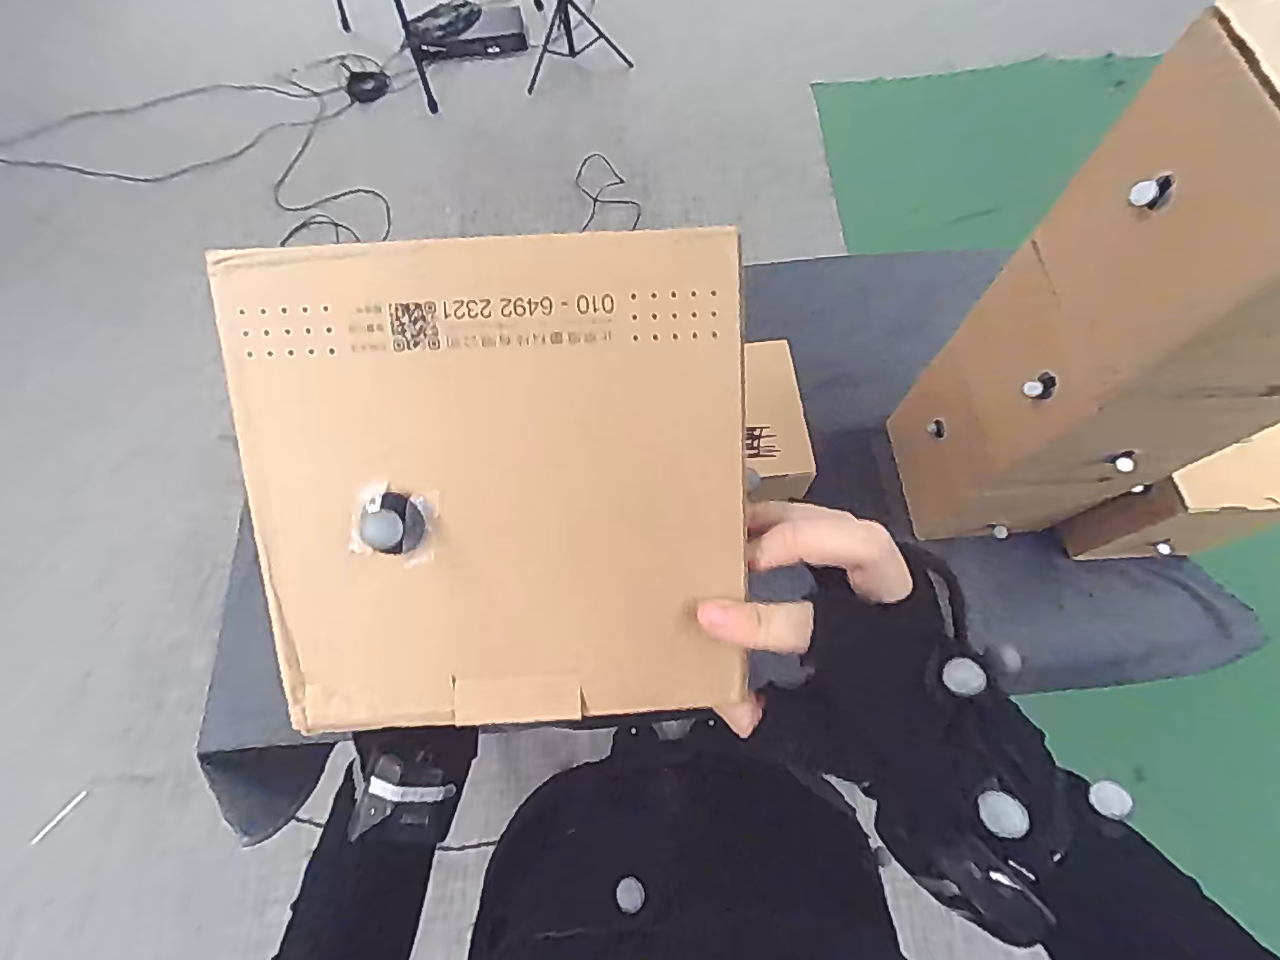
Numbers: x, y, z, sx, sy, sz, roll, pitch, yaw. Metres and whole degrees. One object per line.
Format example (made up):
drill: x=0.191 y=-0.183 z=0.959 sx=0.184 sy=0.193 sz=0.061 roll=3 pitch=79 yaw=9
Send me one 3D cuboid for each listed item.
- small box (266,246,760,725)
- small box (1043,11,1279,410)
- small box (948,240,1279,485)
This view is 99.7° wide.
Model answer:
small box: x=-0.045 y=-0.011 z=0.267 sx=0.168 sy=0.179 sz=0.176 roll=-3 pitch=101 yaw=-2
small box: x=0.412 y=-0.164 z=0.353 sx=0.168 sy=0.176 sz=0.179 roll=-1 pitch=66 yaw=4
small box: x=0.423 y=-0.100 z=0.504 sx=0.168 sy=0.176 sz=0.179 roll=-3 pitch=66 yaw=3
